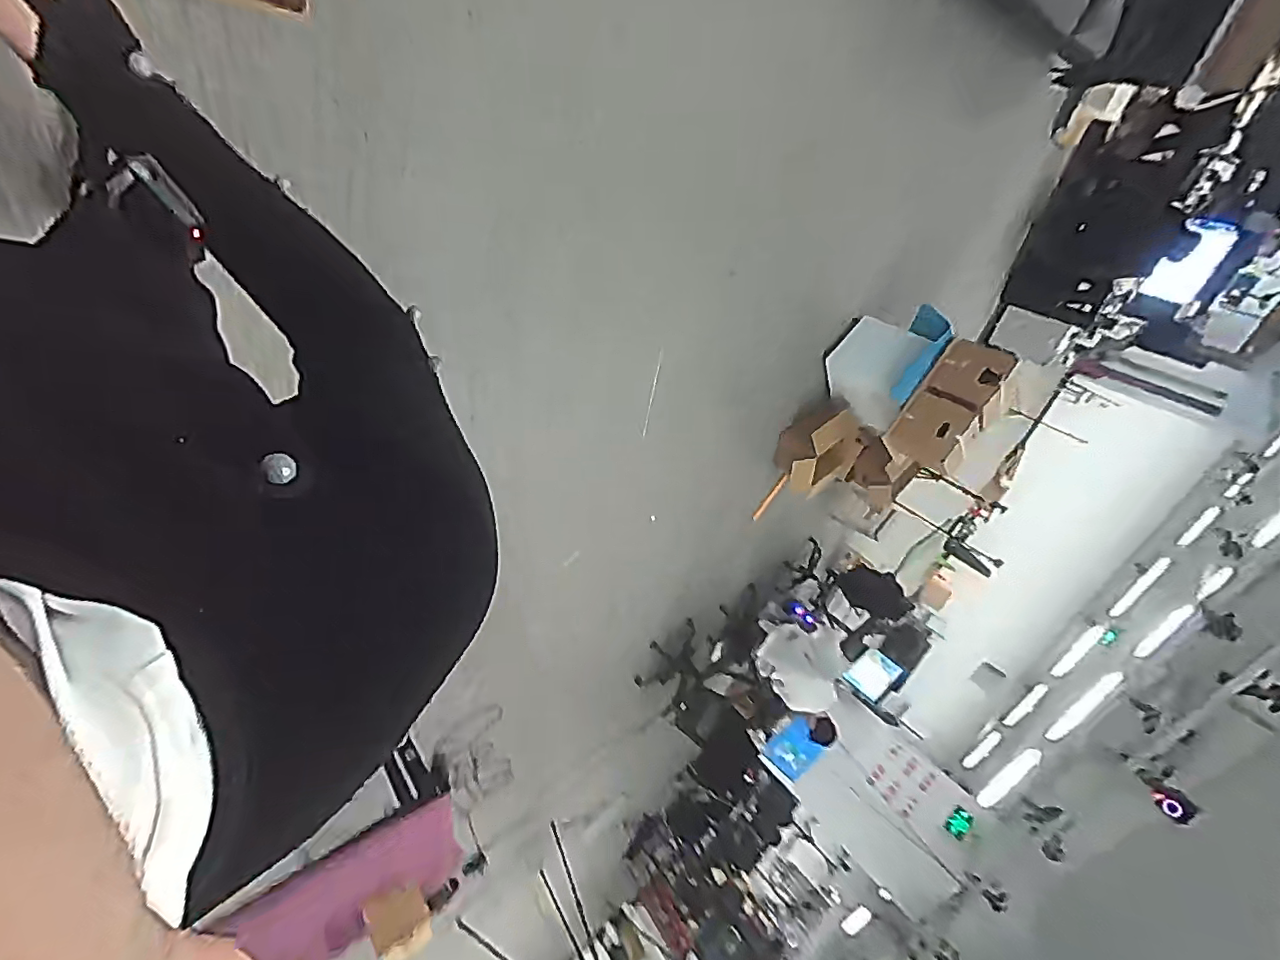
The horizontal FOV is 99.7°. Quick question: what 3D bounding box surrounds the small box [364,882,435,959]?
[{"bbox_3d":[-0.793,1.479,1.781,0.168,0.176,0.179,-18,134,-38],"label":"small box"}]
